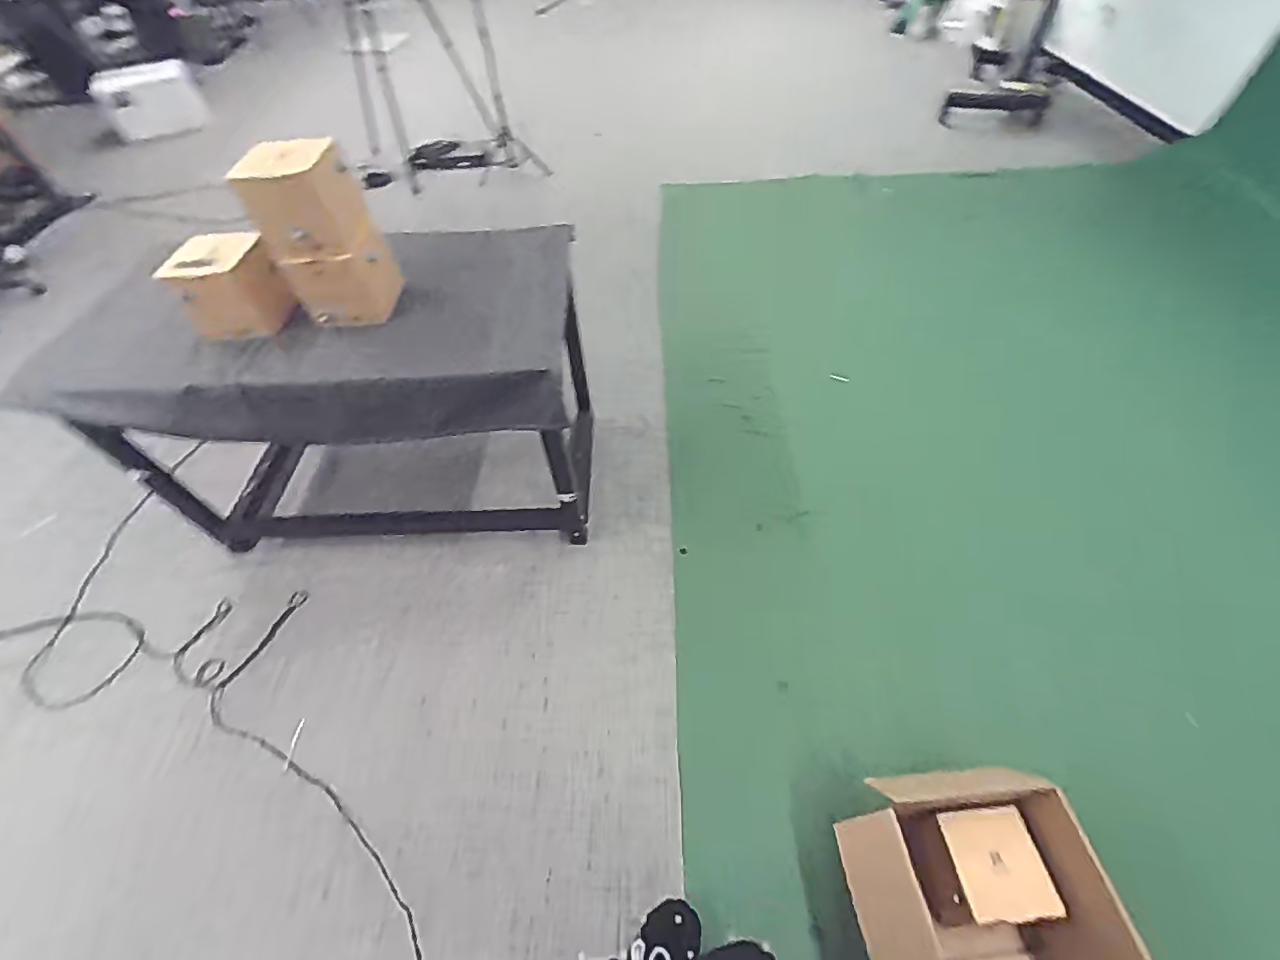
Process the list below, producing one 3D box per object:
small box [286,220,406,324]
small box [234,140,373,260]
[{"bbox_3d":[-0.674,-0.480,1.266,0.168,0.176,0.179,-3,51,2],"label":"small box"},{"bbox_3d":[-0.696,-0.592,1.147,0.168,0.176,0.179,-4,52,2],"label":"small box"}]
